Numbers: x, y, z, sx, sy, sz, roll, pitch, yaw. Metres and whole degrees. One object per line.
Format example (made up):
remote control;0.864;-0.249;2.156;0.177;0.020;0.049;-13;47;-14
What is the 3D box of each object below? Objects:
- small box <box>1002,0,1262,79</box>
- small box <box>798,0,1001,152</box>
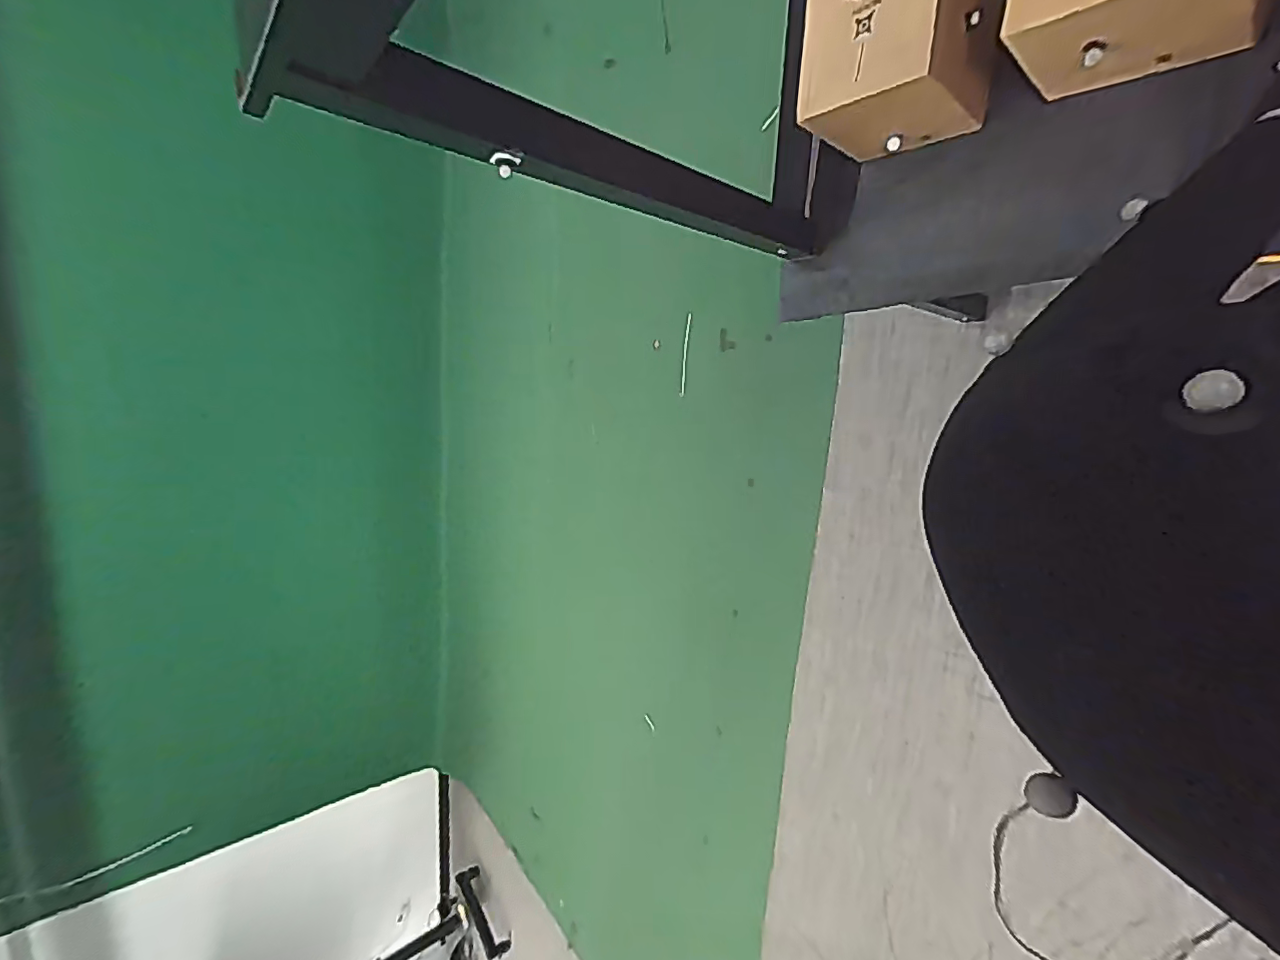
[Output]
small box;0.471;-0.512;0.500;0.168;0.176;0.179;17;106;47
small box;0.321;-0.544;0.669;0.168;0.176;0.179;15;106;48
